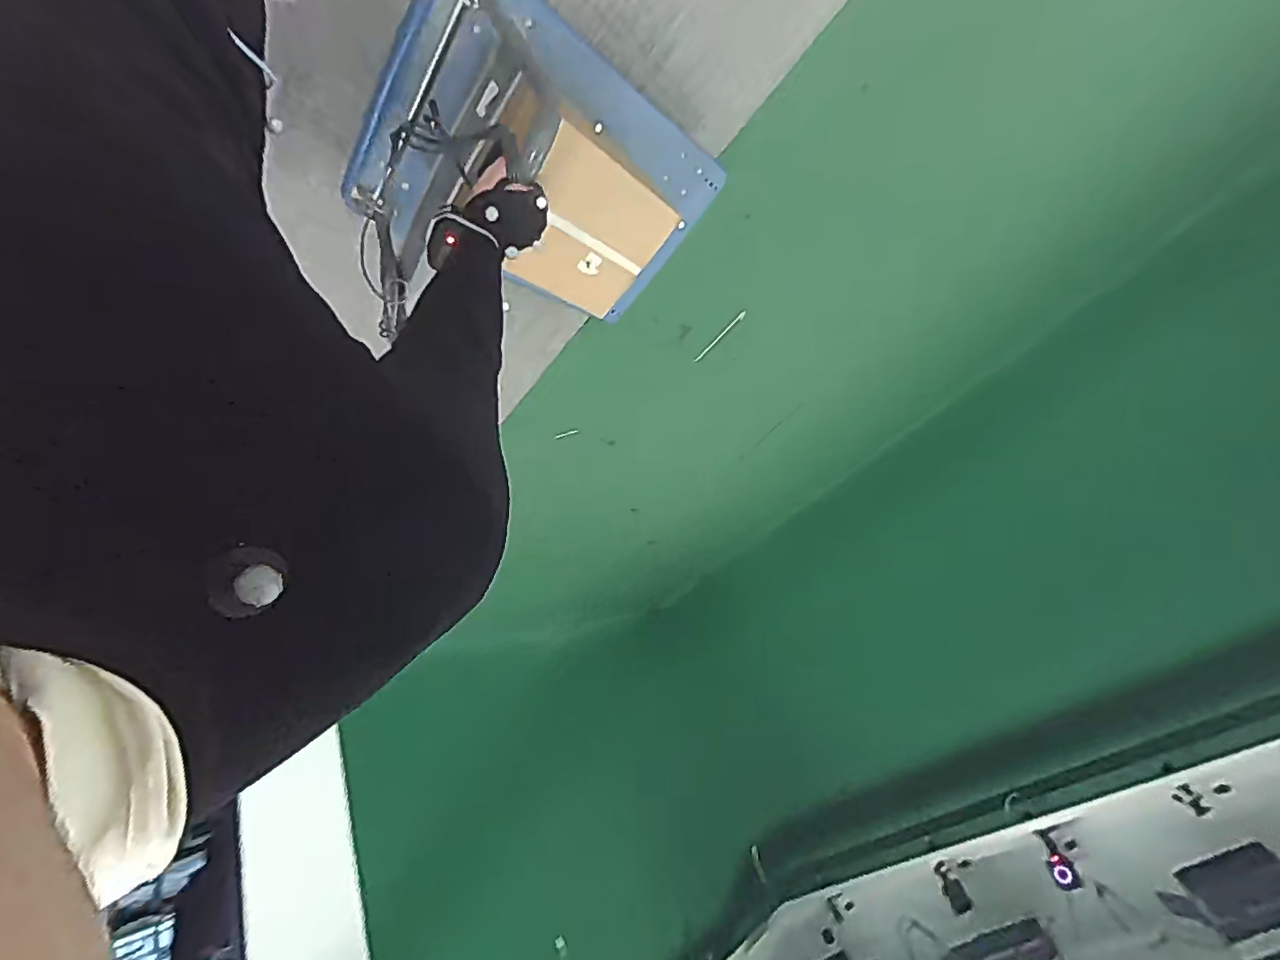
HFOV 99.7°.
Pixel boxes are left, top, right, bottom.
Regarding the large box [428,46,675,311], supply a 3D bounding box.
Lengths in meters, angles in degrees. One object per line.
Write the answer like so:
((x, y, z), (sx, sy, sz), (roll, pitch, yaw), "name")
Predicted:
((-0.205, -0.662, 1.243), (0.408, 0.320, 0.320), (10, 134, -49), "large box")
